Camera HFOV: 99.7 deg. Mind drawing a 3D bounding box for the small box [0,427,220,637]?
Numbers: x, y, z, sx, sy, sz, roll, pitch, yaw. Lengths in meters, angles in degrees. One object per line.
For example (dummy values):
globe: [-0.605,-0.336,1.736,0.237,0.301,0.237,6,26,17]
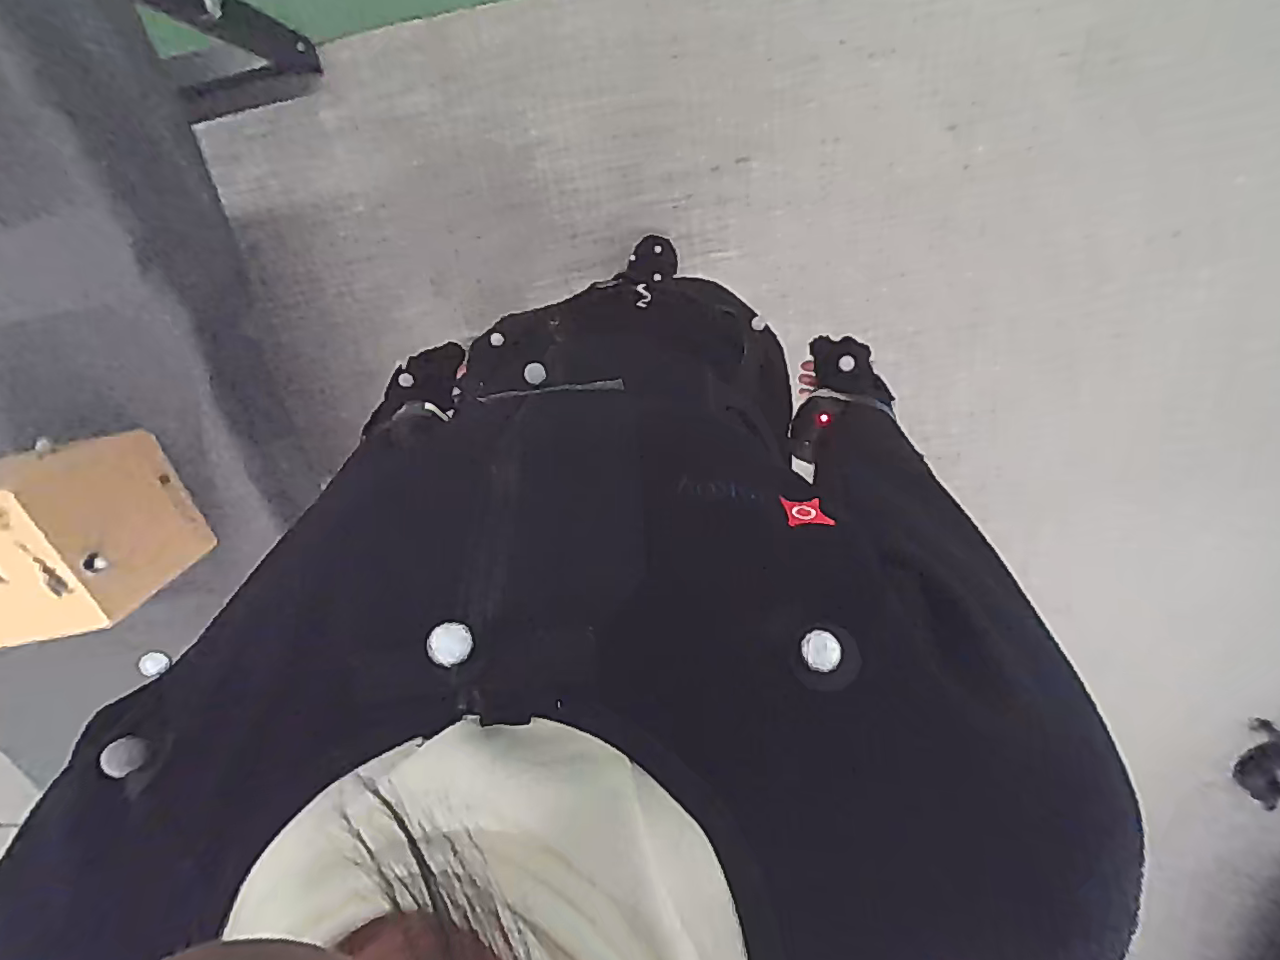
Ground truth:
small box: [-0.647,0.053,0.617,0.179,0.176,0.168,-10,115,5]
